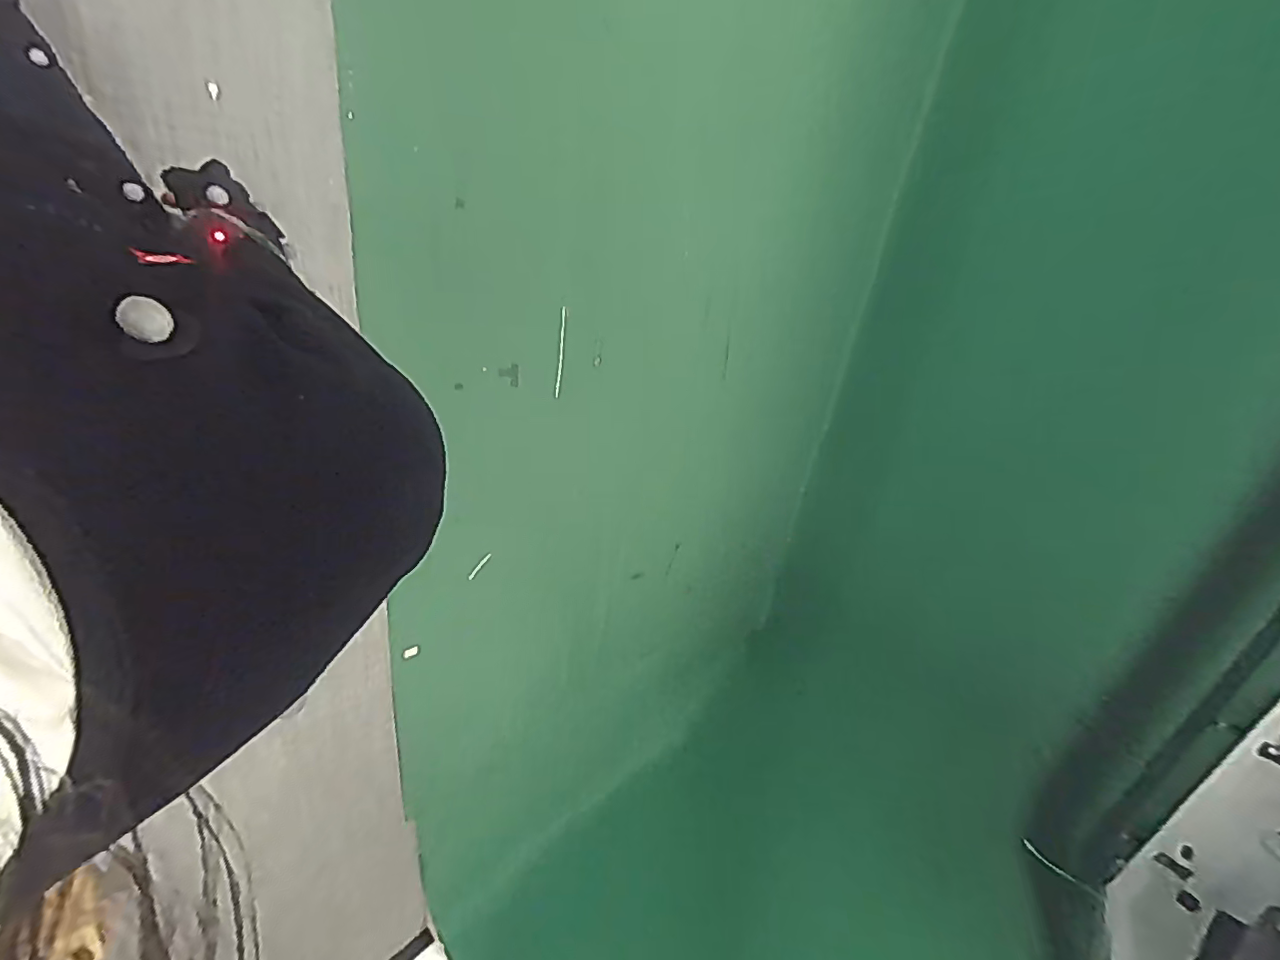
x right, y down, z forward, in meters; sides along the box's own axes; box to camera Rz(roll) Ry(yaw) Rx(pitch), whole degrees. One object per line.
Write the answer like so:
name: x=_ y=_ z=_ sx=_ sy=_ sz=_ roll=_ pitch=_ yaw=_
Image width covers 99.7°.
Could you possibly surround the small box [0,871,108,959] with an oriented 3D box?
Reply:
small box: x=-1.449 y=1.116 z=1.319 sx=0.179 sy=0.176 sz=0.168 roll=-16 pitch=125 yaw=-45
